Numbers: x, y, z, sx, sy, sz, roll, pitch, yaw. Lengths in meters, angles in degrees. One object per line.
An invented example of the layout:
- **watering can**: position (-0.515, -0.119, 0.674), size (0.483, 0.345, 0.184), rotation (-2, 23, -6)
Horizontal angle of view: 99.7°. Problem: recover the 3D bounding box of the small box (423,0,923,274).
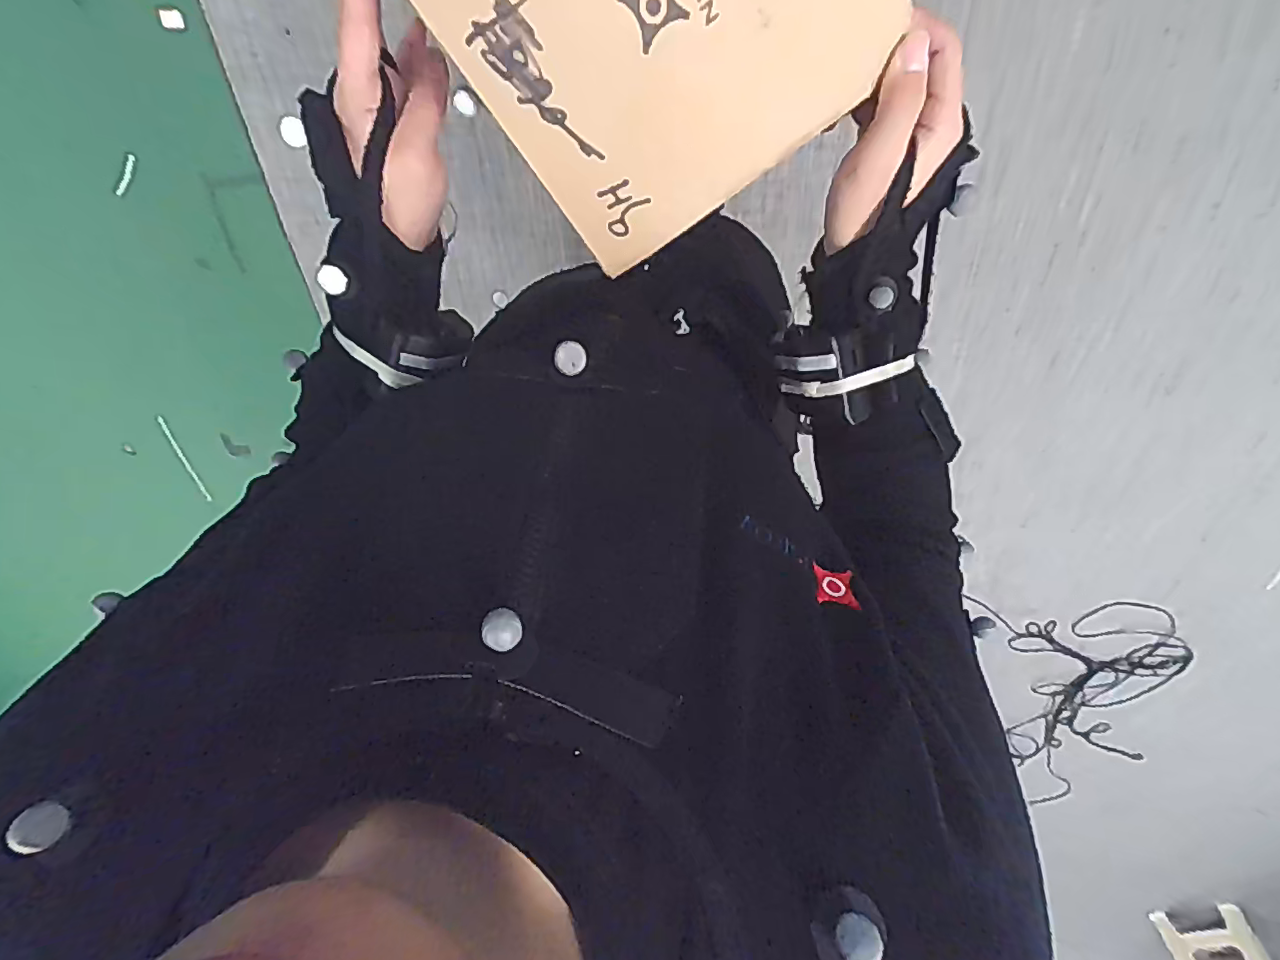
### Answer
- **small box**: position (0.001, -0.248, 0.271), size (0.179, 0.176, 0.168), rotation (-31, 131, 14)
